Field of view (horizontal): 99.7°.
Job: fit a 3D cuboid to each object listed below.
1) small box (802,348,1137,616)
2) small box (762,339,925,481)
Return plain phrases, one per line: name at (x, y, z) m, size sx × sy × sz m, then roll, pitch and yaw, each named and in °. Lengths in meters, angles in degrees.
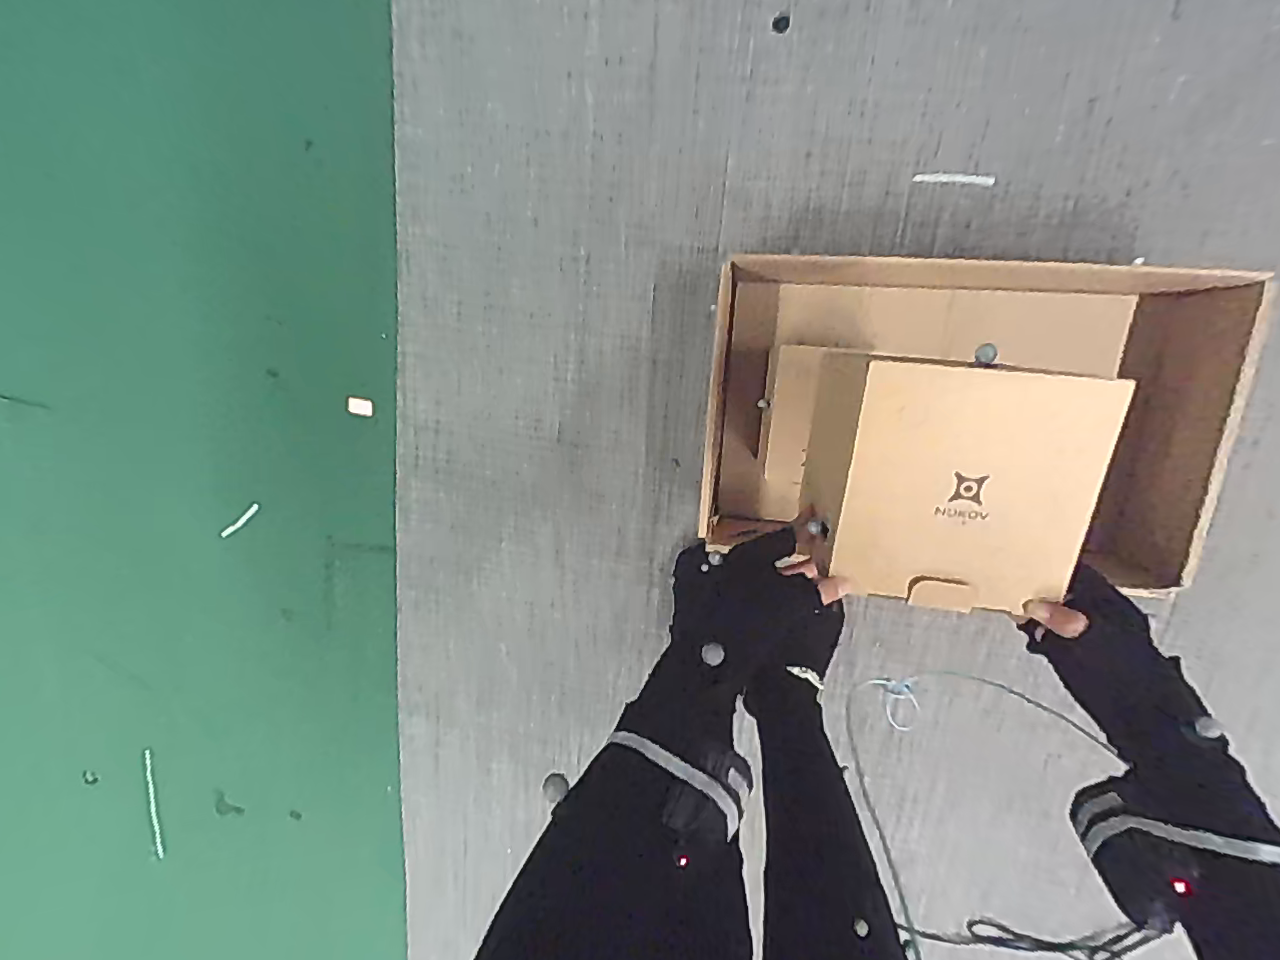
small box at (0.240, -0.014, 0.451) m, size 0.168 × 0.176 × 0.179 m, roll 6°, pitch 108°, yaw 6°
small box at (0.262, -0.094, 0.741) m, size 0.168 × 0.176 × 0.179 m, roll 6°, pitch 103°, yaw 8°
